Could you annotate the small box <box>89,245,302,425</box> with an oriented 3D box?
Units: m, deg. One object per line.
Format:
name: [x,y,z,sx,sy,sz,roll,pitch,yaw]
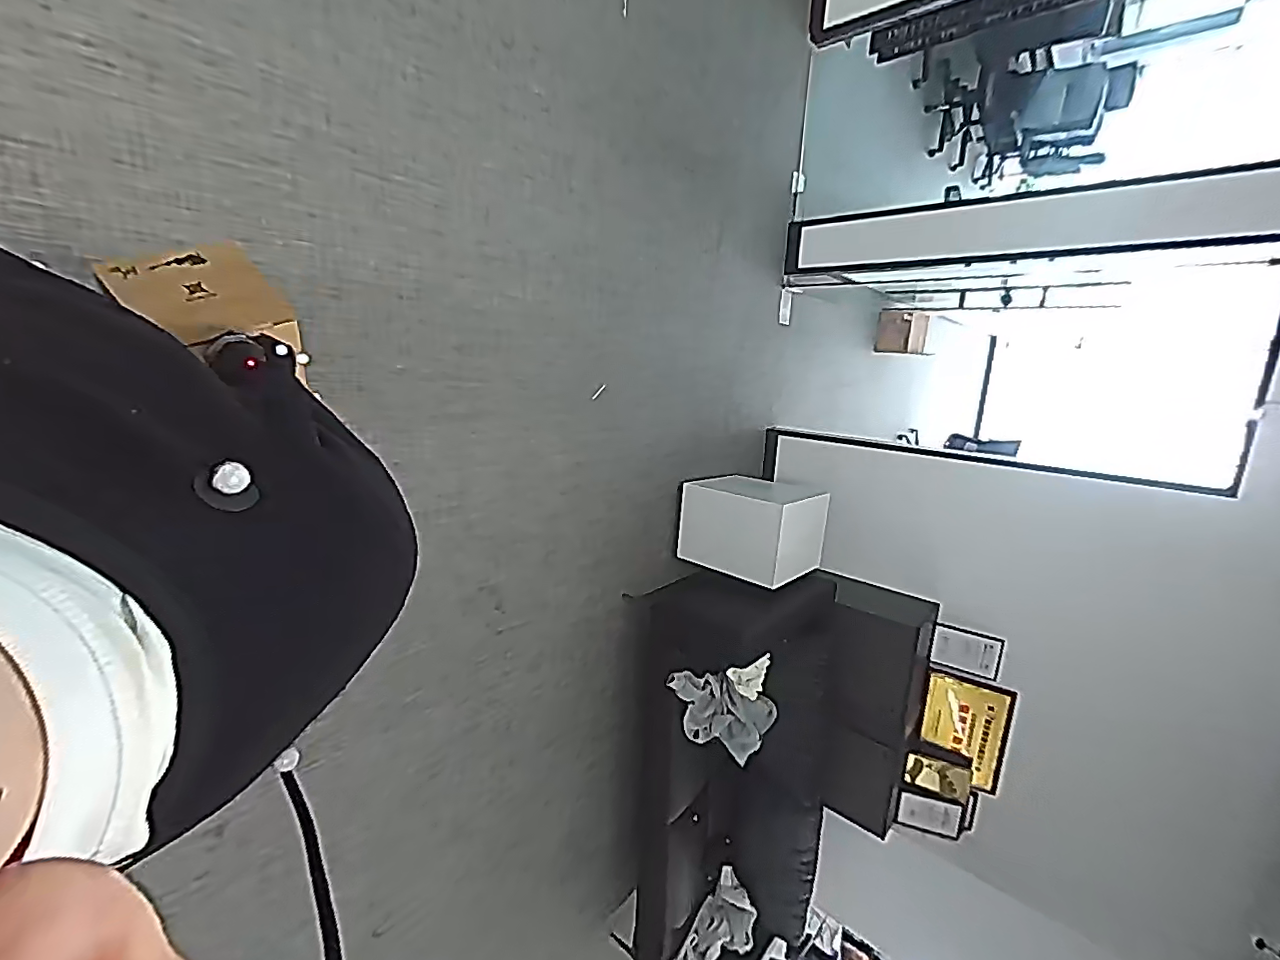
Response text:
small box: [-0.624,-0.202,0.785,0.168,0.179,0.176,-37,167,-40]
